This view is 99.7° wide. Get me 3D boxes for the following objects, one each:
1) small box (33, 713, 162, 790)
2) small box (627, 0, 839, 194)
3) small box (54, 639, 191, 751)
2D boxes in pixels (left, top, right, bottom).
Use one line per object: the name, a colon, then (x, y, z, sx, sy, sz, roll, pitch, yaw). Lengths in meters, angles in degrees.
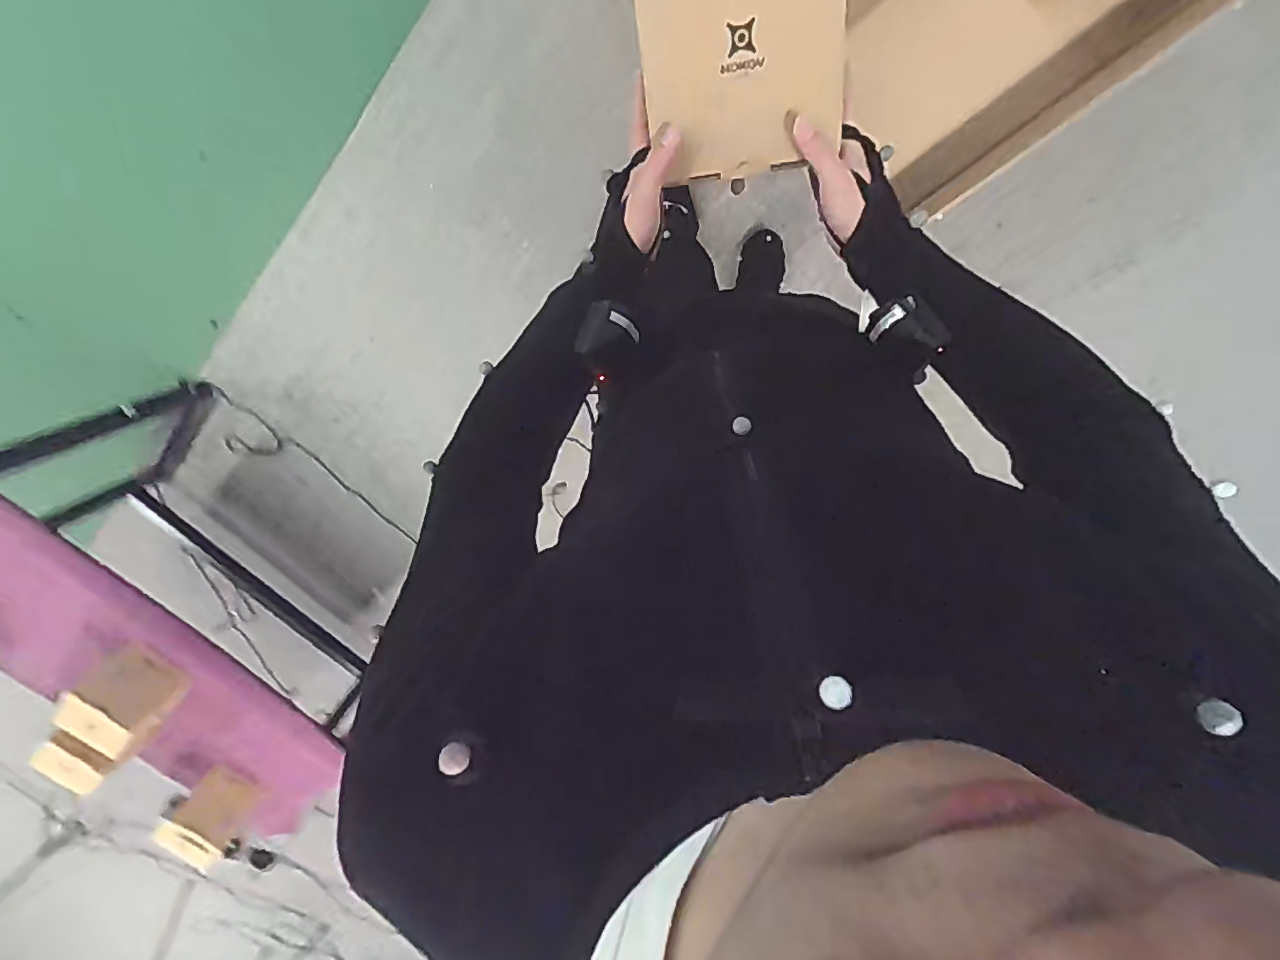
small box: (-1.467, 0.695, 1.473, 0.179, 0.176, 0.168, -38, 104, 24)
small box: (0.084, -0.382, 0.510, 0.168, 0.176, 0.179, -5, 119, 8)
small box: (-1.279, 0.530, 1.348, 0.168, 0.176, 0.179, 44, 118, -11)
